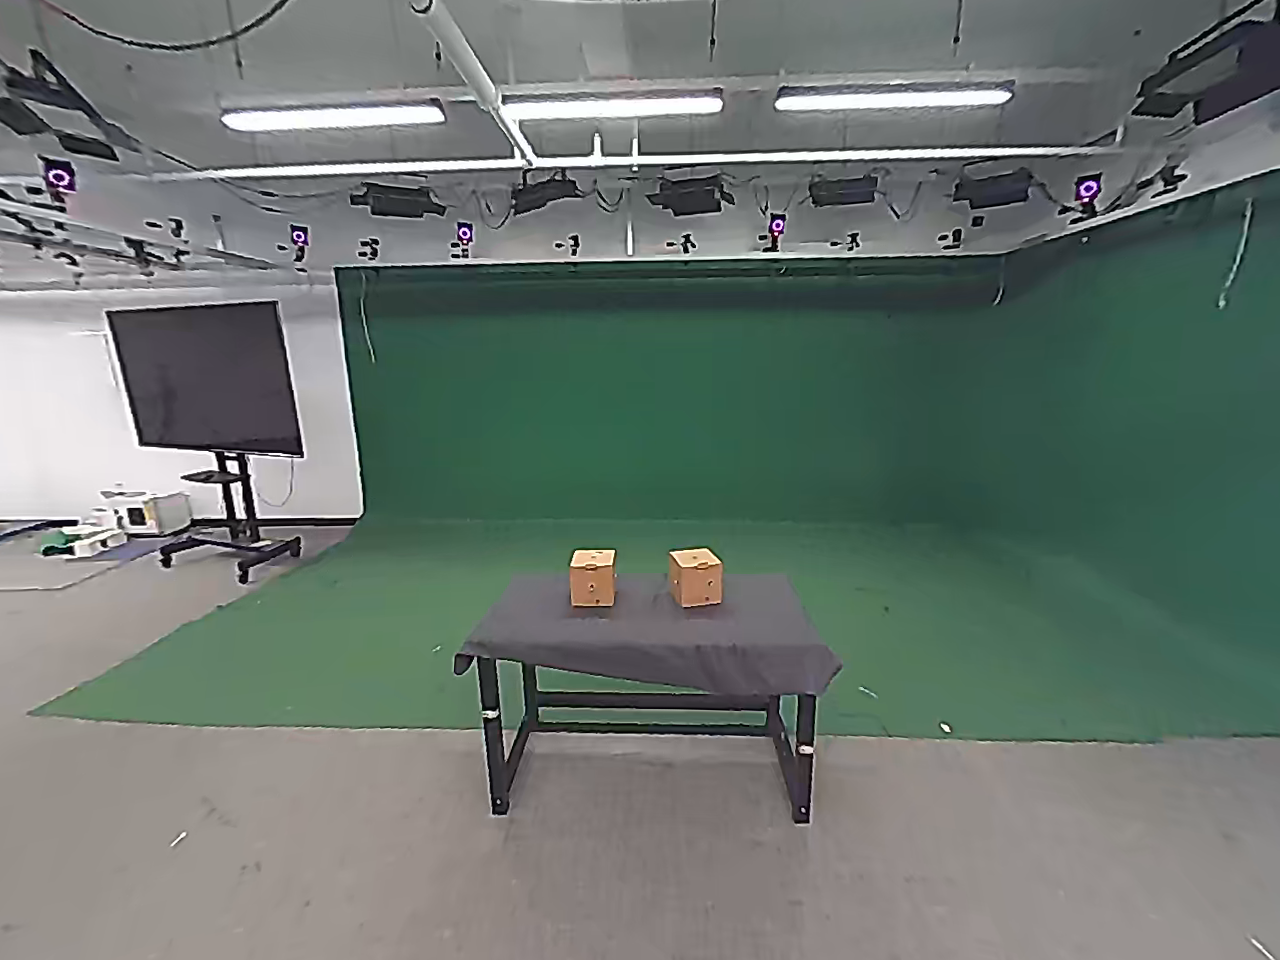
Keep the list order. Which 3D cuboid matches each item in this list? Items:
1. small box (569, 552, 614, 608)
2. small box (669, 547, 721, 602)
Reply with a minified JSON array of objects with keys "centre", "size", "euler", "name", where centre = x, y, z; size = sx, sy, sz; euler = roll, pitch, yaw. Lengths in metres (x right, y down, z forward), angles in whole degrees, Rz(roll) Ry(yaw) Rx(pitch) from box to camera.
[{"centre":[-0.188,0.402,2.160],"size":[0.168,0.176,0.179],"euler":[-2,12,-2],"name":"small box"},{"centre":[0.216,0.379,2.148],"size":[0.168,0.176,0.179],"euler":[-1,13,-11],"name":"small box"}]
